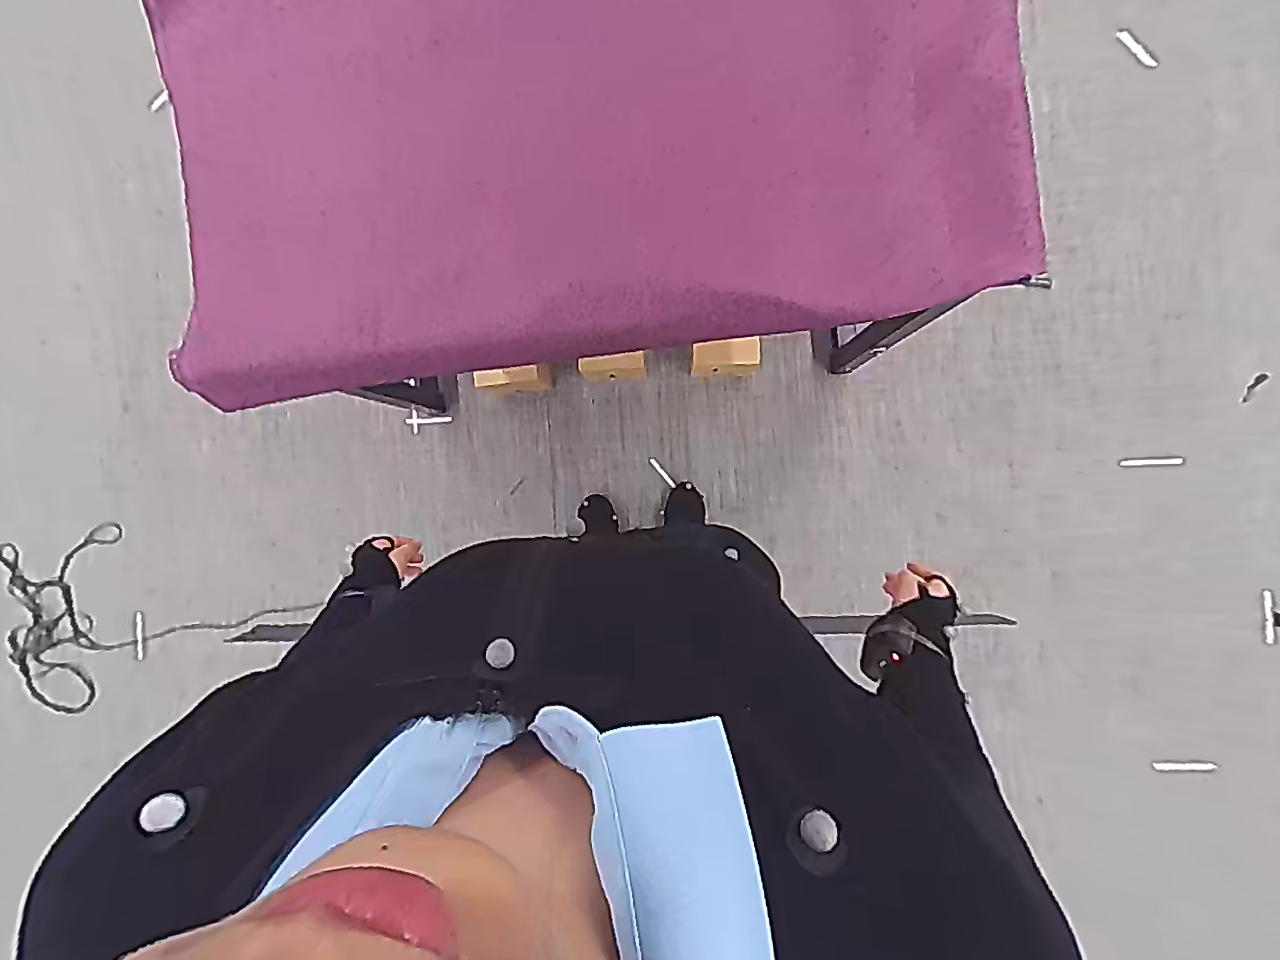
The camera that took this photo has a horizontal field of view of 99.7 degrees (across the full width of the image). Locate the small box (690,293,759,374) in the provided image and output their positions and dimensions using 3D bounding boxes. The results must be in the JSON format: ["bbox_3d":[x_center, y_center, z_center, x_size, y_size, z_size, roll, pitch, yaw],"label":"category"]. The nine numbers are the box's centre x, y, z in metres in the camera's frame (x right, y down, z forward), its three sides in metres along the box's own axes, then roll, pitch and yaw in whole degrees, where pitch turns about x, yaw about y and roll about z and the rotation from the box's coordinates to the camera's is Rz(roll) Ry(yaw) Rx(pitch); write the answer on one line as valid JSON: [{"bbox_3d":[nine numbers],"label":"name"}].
[{"bbox_3d":[0.217,-0.375,1.415,0.168,0.176,0.179,0,89,4],"label":"small box"}]

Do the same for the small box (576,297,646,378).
[{"bbox_3d":[-0.072,-0.368,1.430,0.168,0.176,0.179,-3,89,3],"label":"small box"}]
